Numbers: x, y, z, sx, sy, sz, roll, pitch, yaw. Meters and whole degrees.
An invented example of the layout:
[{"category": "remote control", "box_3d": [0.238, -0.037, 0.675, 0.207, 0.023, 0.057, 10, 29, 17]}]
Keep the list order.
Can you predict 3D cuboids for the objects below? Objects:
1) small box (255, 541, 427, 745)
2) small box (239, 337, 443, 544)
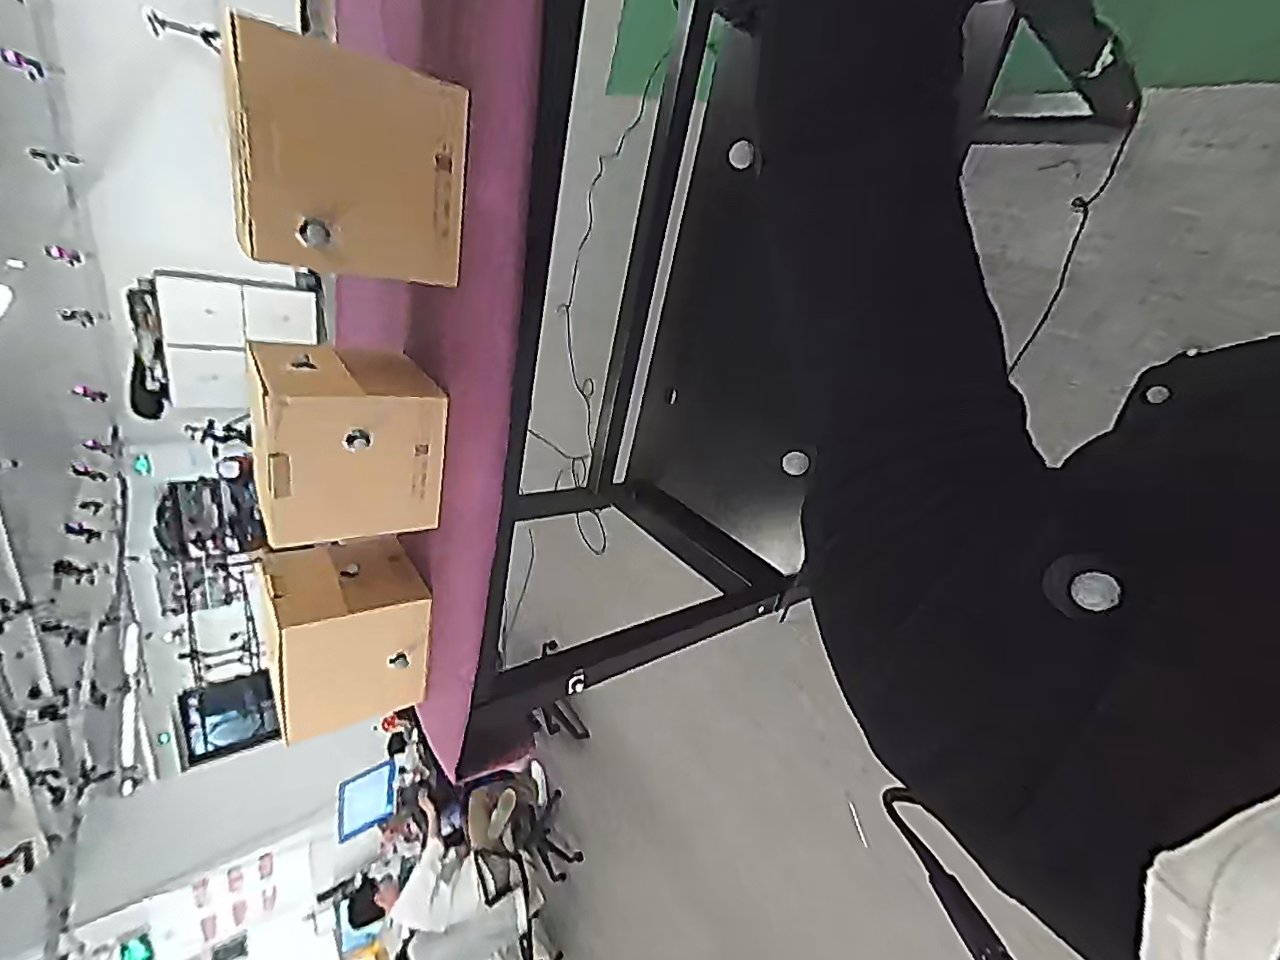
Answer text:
[{"category": "small box", "box_3d": [-0.391, 0.196, 0.709, 0.168, 0.176, 0.179, 33, 119, 44]}, {"category": "small box", "box_3d": [-0.334, -0.052, 0.608, 0.179, 0.176, 0.168, 38, 123, 42]}]
